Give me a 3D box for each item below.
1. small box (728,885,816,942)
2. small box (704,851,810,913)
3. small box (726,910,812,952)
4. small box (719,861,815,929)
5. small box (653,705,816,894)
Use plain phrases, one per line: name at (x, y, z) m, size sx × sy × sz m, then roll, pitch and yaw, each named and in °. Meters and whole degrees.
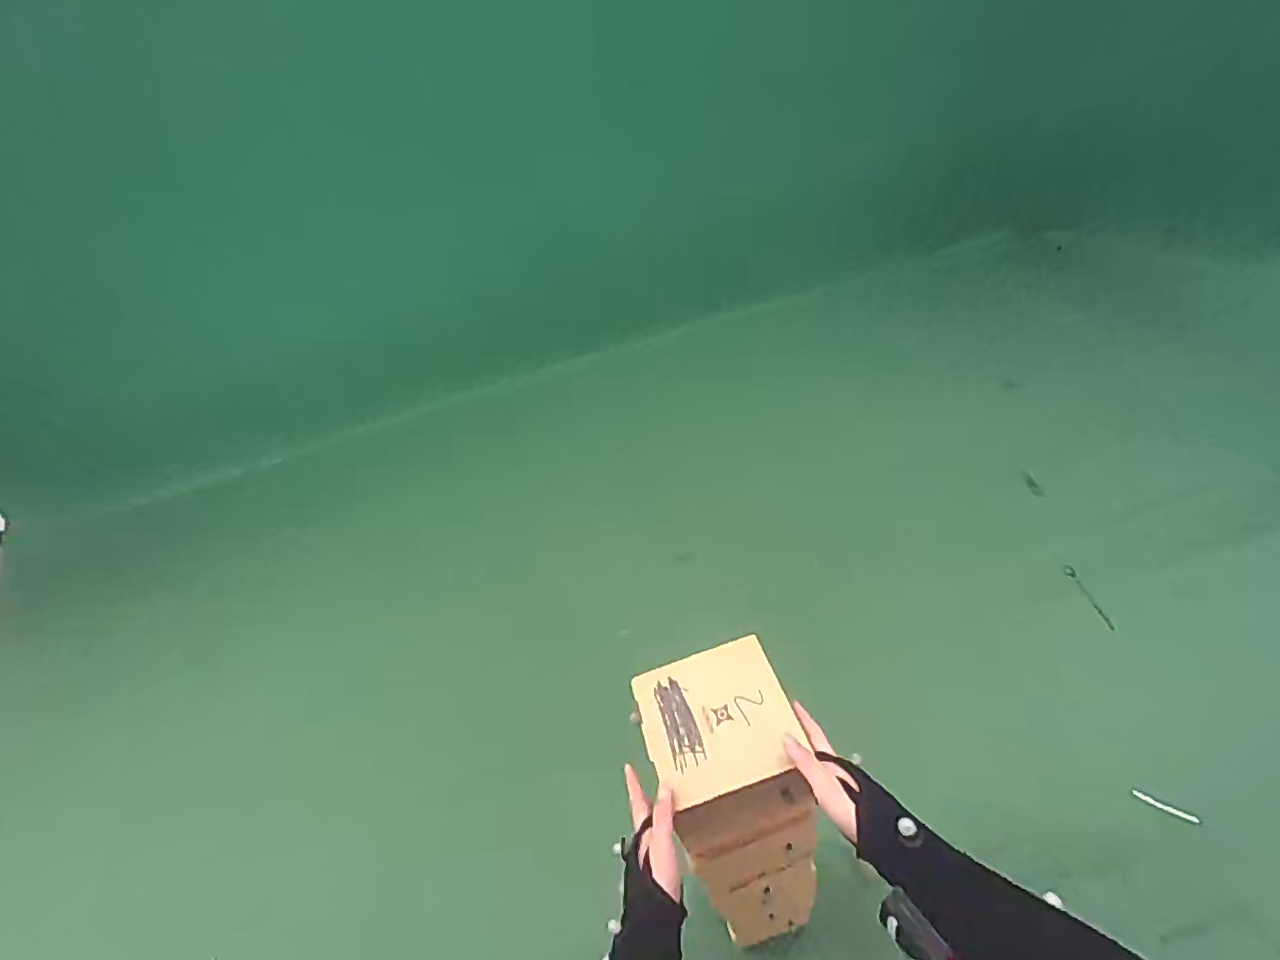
small box at (0.243, 0.814, 1.116) m, size 0.179 × 0.176 × 0.168 m, roll -20°, pitch 43°, yaw -4°
small box at (0.167, 0.584, 0.897) m, size 0.168 × 0.176 × 0.179 m, roll -20°, pitch 44°, yaw -4°
small box at (0.269, 0.933, 1.223) m, size 0.179 × 0.176 × 0.168 m, roll -18°, pitch 42°, yaw -3°
small box at (0.207, 0.698, 1.007) m, size 0.179 × 0.176 × 0.168 m, roll -21°, pitch 43°, yaw -6°
small box at (0.136, 0.466, 0.788) m, size 0.179 × 0.176 × 0.168 m, roll -20°, pitch 42°, yaw -3°
